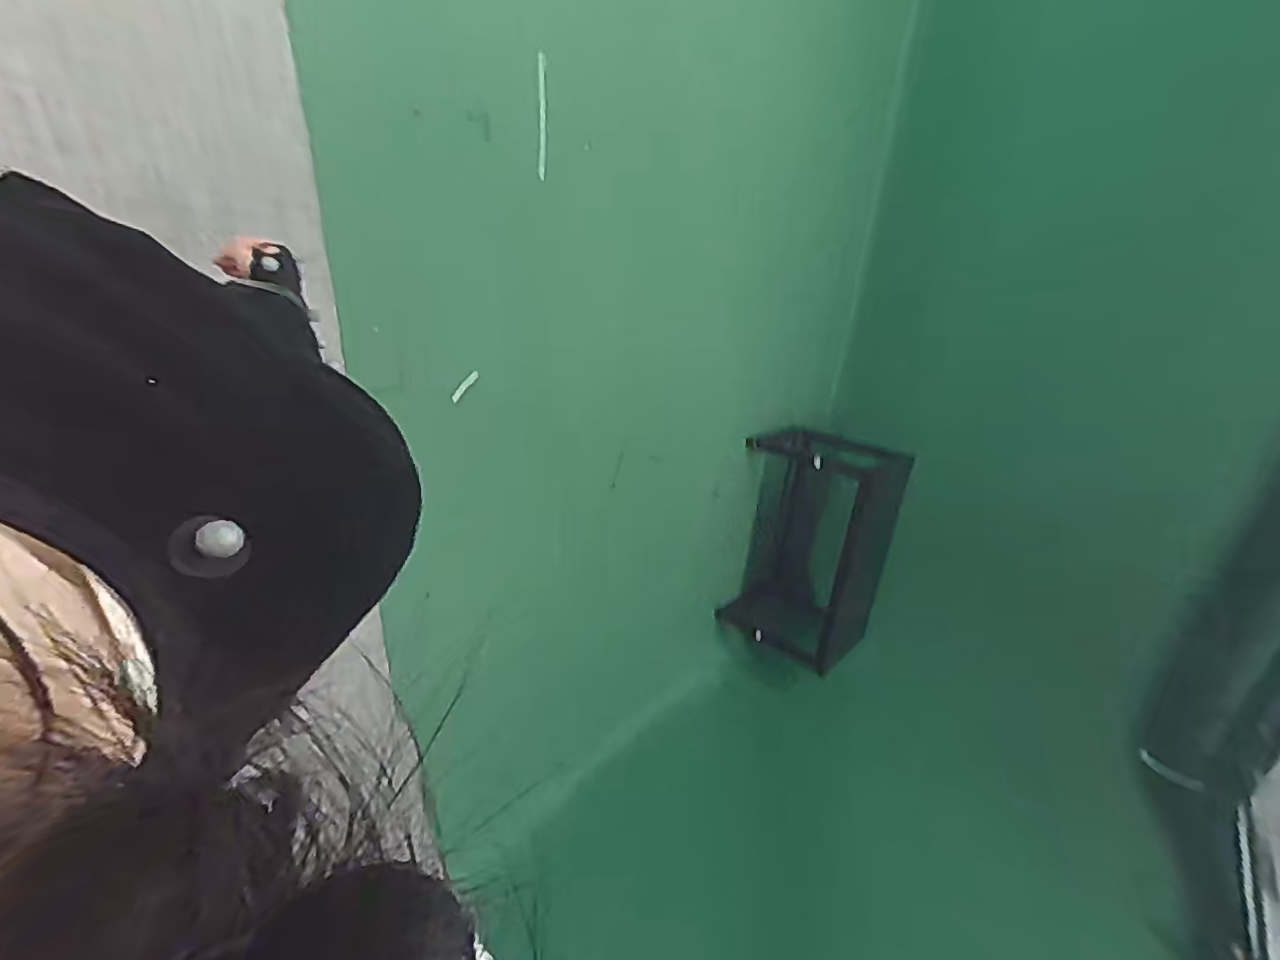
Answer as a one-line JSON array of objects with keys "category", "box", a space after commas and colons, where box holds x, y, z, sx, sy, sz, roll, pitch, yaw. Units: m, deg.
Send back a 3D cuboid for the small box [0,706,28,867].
[{"category": "small box", "box": [-0.970, 0.442, 0.725, 0.179, 0.176, 0.168, -16, 119, -44]}]
